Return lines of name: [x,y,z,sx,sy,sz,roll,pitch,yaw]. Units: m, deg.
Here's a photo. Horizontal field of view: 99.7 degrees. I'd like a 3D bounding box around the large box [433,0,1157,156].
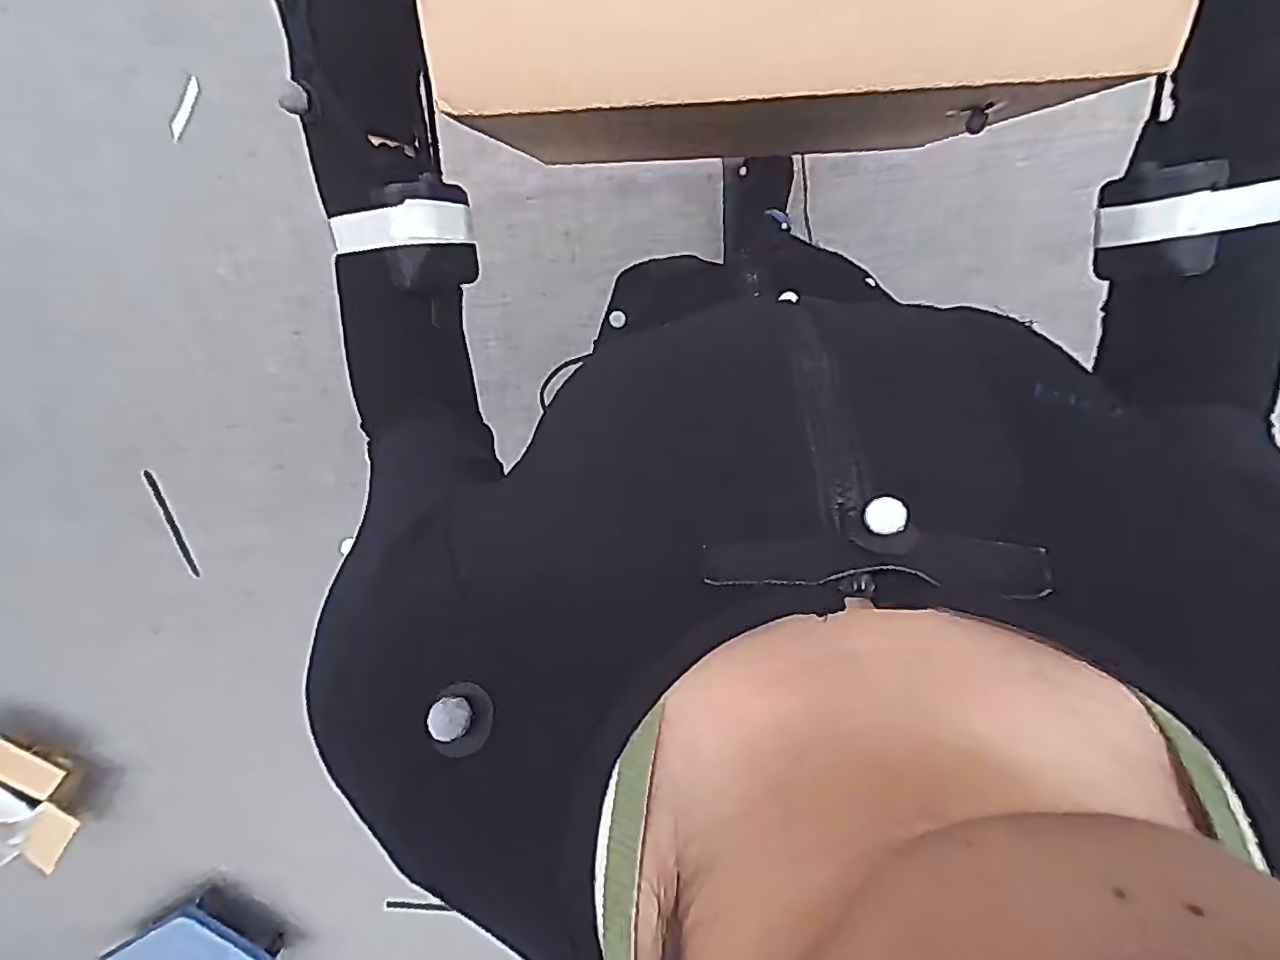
large box: [0.083,-0.429,0.382,0.408,0.320,0.320,-1,115,3]
